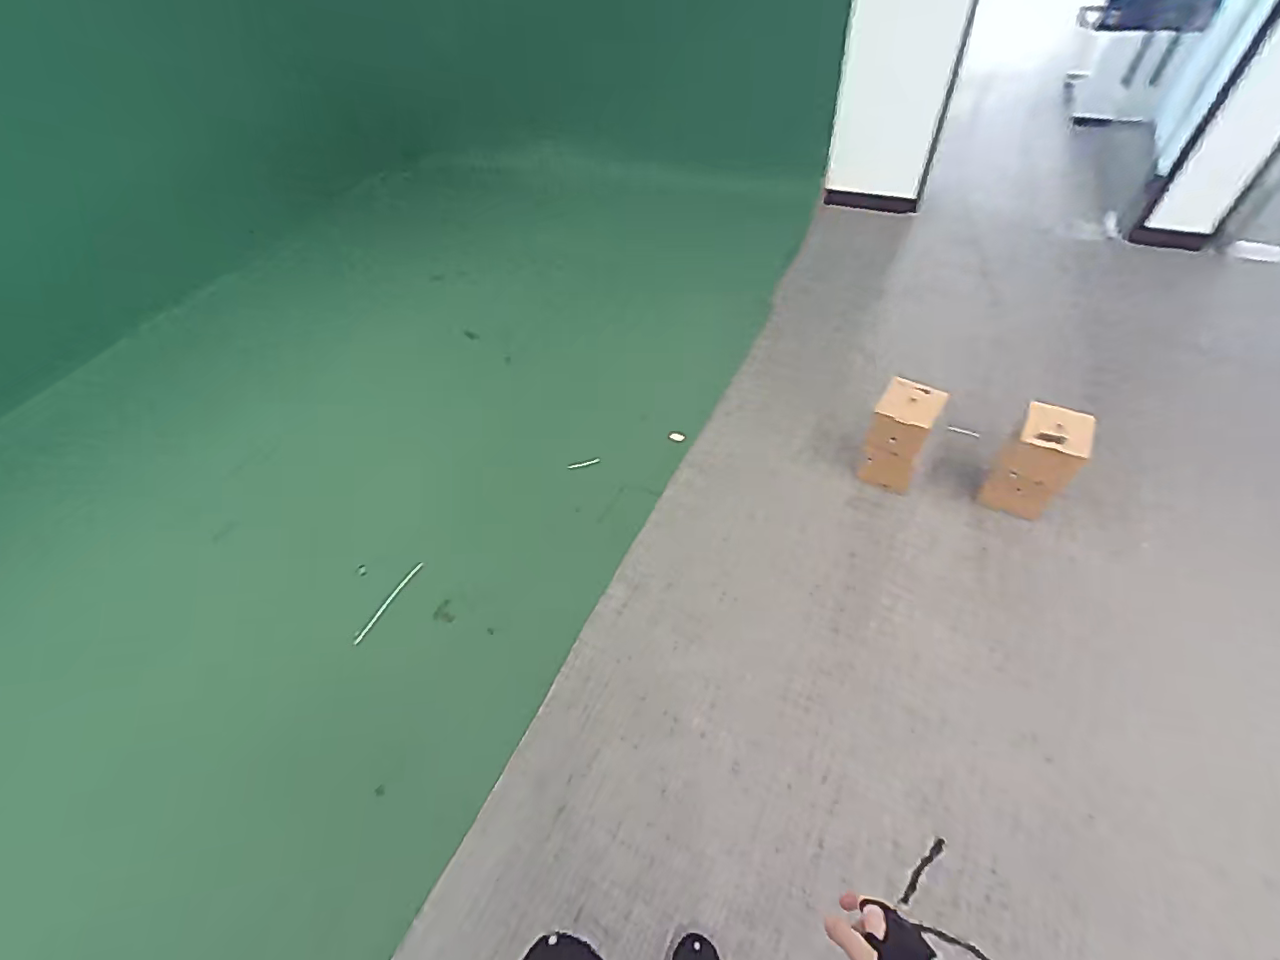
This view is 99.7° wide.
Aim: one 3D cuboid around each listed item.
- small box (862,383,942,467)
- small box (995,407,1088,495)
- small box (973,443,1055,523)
[{"bbox_3d":[0.828,-0.170,1.725,0.168,0.176,0.179,27,61,24],"label":"small box"},{"bbox_3d":[1.186,-0.082,1.606,0.168,0.176,0.179,21,58,22],"label":"small box"},{"bbox_3d":[1.204,0.012,1.738,0.179,0.176,0.168,20,59,21],"label":"small box"}]
